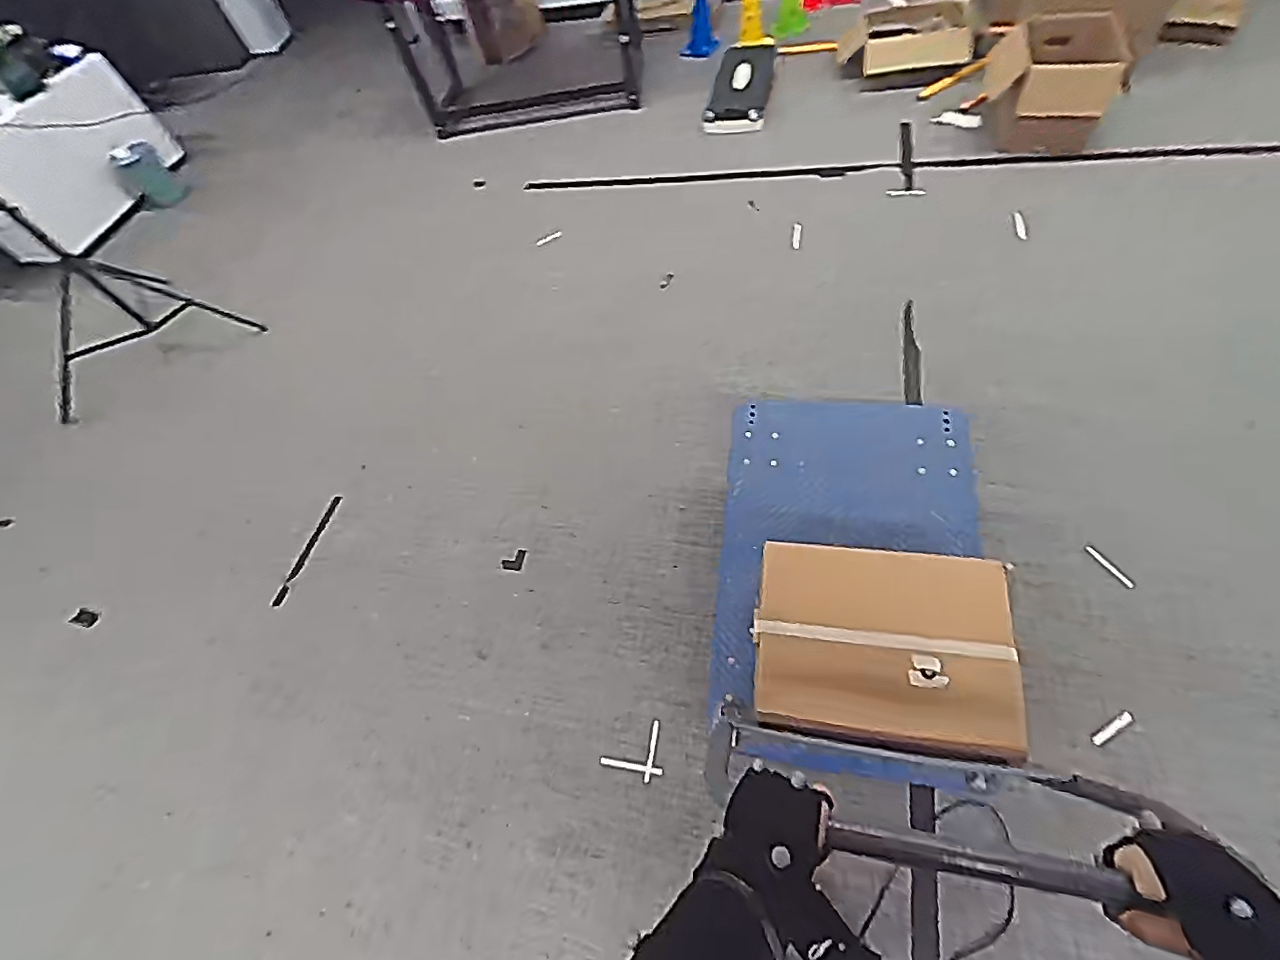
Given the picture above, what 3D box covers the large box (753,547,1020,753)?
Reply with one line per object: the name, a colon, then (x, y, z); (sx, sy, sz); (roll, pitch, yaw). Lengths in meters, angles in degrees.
large box: (0.432, 0.334, 1.059); (0.408, 0.320, 0.320); (3, 67, 11)
